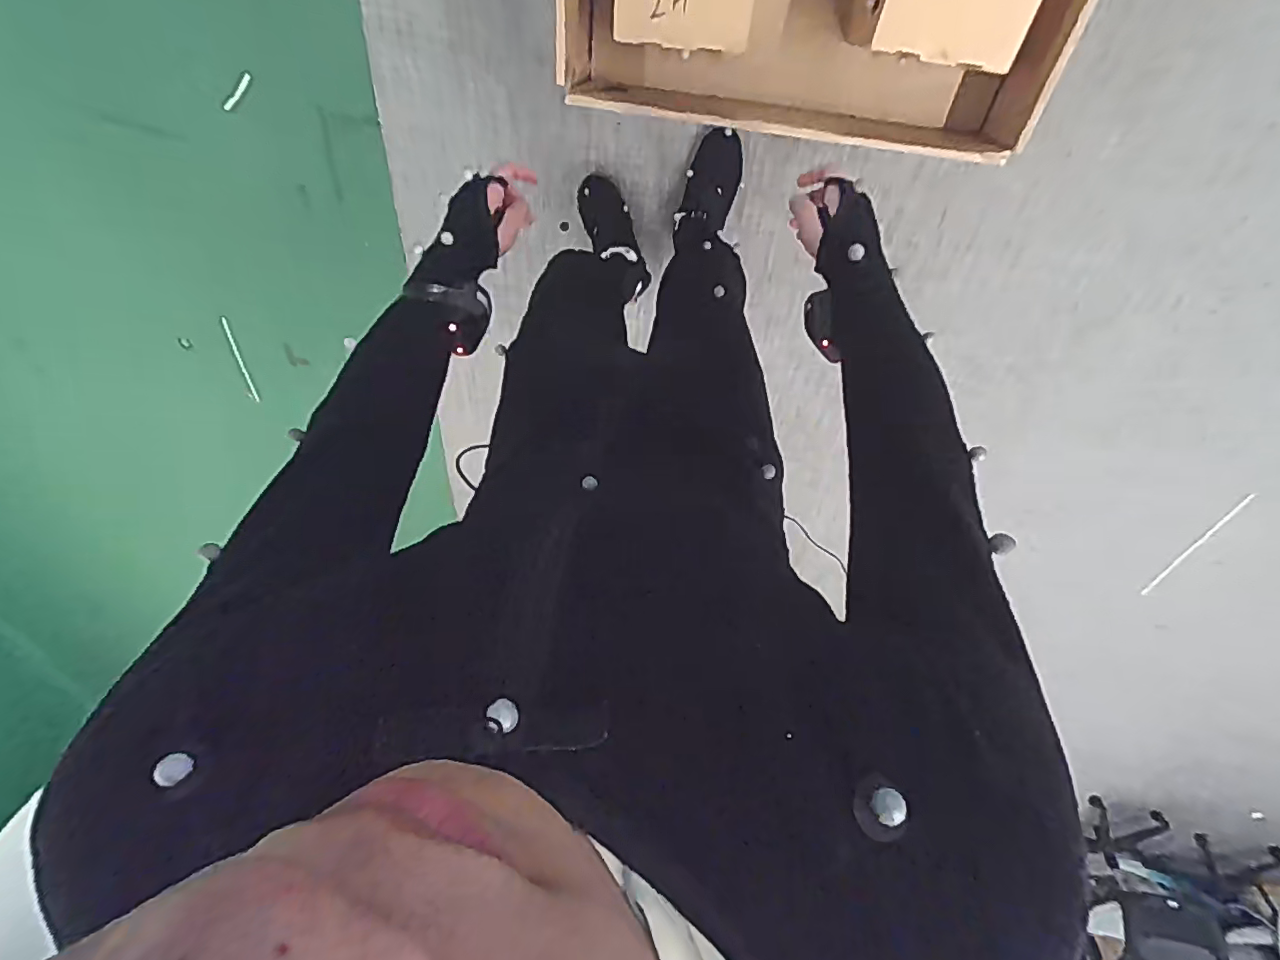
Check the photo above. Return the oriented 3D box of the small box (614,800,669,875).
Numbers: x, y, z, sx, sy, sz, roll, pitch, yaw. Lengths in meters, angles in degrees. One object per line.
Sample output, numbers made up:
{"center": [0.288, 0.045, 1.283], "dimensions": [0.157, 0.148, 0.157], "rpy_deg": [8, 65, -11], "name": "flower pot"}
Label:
{"center": [0.006, 1.229, 1.863], "dimensions": [0.168, 0.176, 0.179], "rpy_deg": [8, 132, 3], "name": "small box"}
